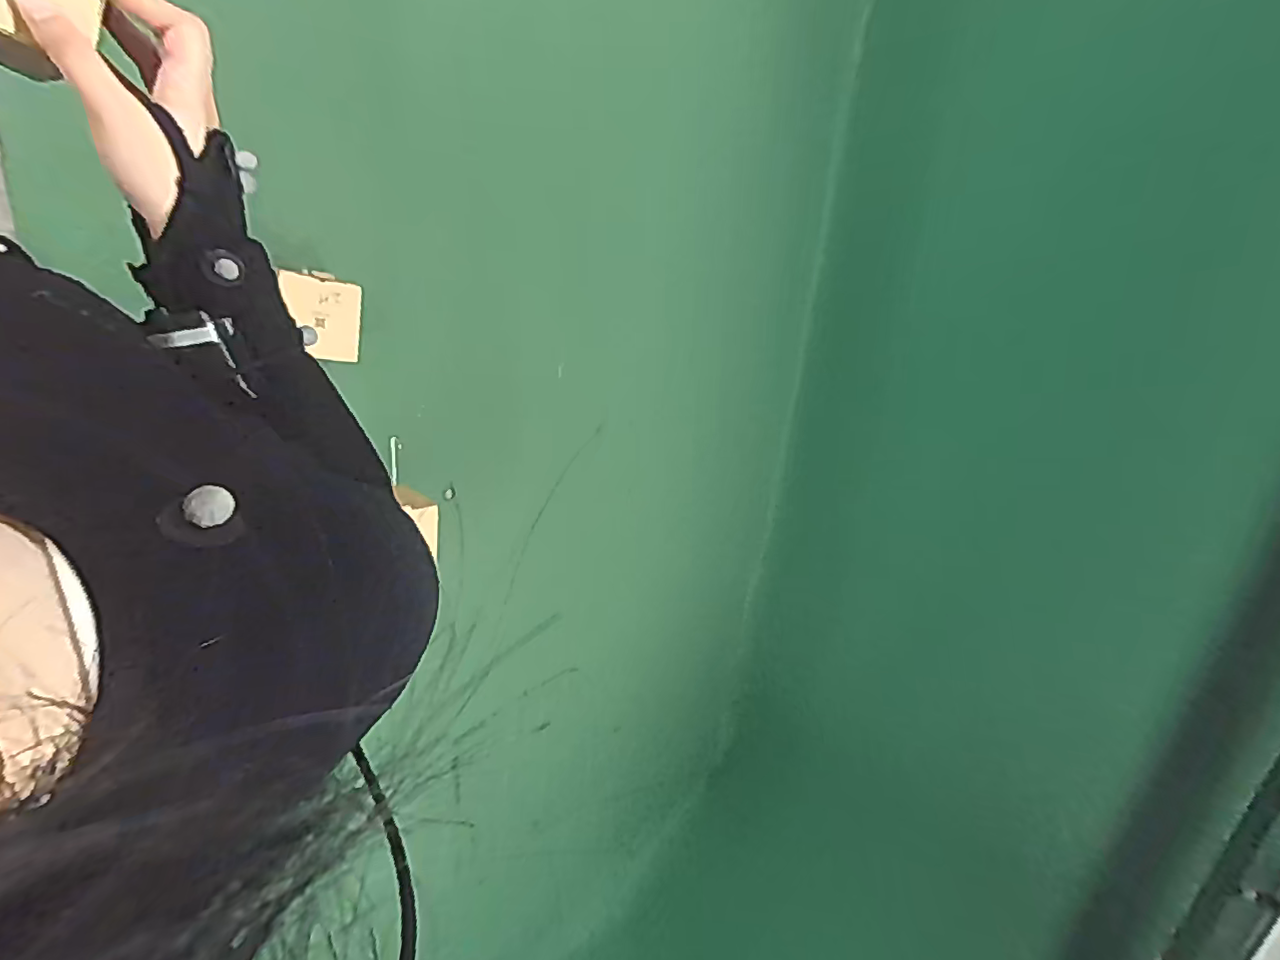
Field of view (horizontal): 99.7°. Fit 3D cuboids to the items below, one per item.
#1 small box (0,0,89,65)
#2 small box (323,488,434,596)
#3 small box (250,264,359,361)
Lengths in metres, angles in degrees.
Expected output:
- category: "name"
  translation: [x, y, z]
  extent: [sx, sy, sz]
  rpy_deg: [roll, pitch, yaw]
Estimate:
- category: "small box"
  translation: [-0.388, -0.335, 0.251]
  extent: [0.179, 0.176, 0.168]
  rpy_deg: [5, 106, -56]
- category: "small box"
  translation: [-0.562, 0.121, 1.159]
  extent: [0.168, 0.176, 0.179]
  rpy_deg: [-9, 112, -49]
- category: "small box"
  translation: [-0.762, -0.377, 1.224]
  extent: [0.168, 0.176, 0.179]
  rpy_deg: [-4, 109, -50]
